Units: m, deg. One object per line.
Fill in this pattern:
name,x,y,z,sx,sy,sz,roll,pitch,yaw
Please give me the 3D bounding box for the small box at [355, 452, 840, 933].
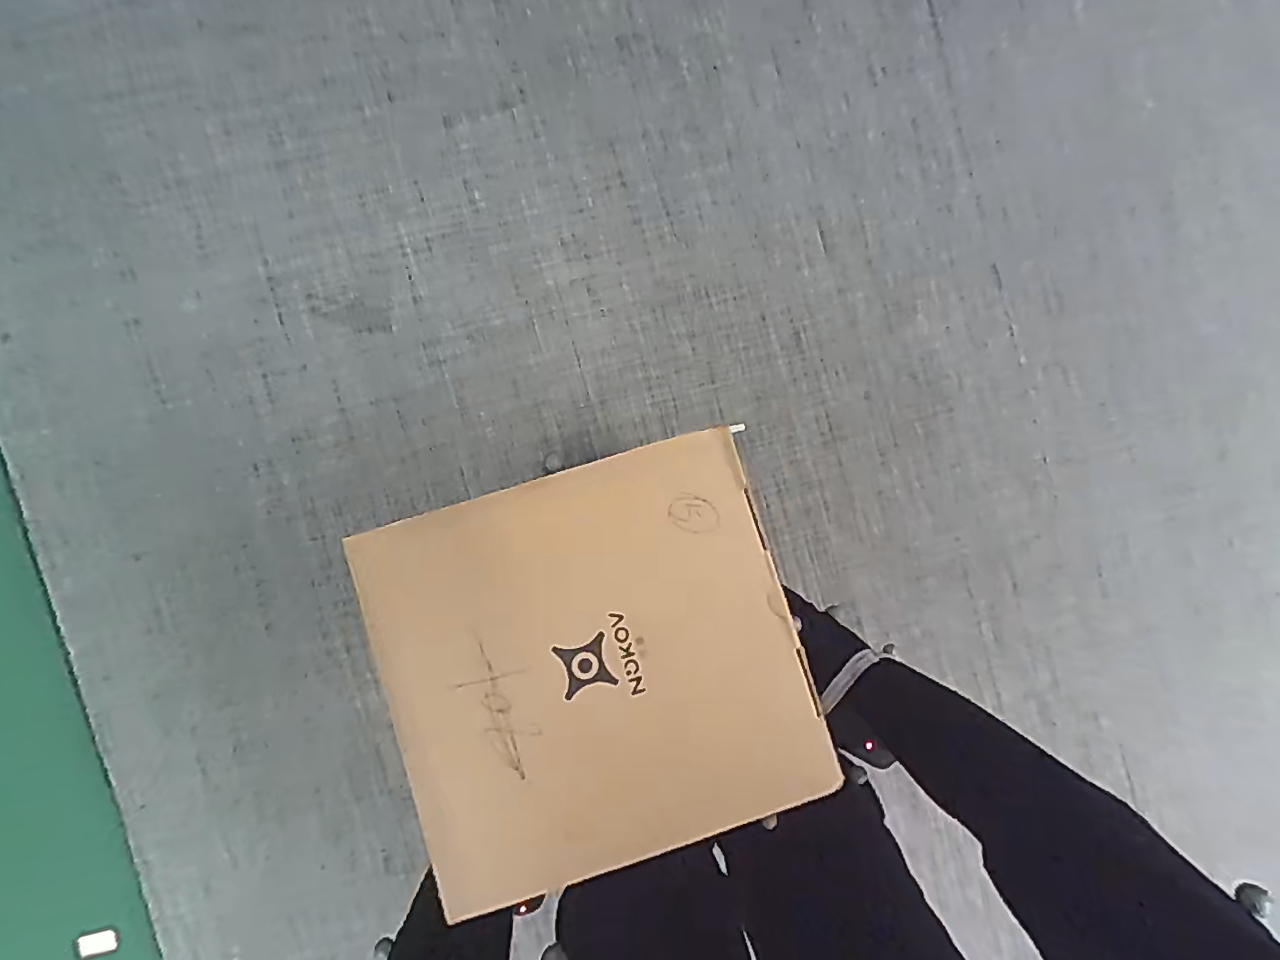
small box,-0.020,0.091,0.311,0.179,0.176,0.168,-17,86,-2
